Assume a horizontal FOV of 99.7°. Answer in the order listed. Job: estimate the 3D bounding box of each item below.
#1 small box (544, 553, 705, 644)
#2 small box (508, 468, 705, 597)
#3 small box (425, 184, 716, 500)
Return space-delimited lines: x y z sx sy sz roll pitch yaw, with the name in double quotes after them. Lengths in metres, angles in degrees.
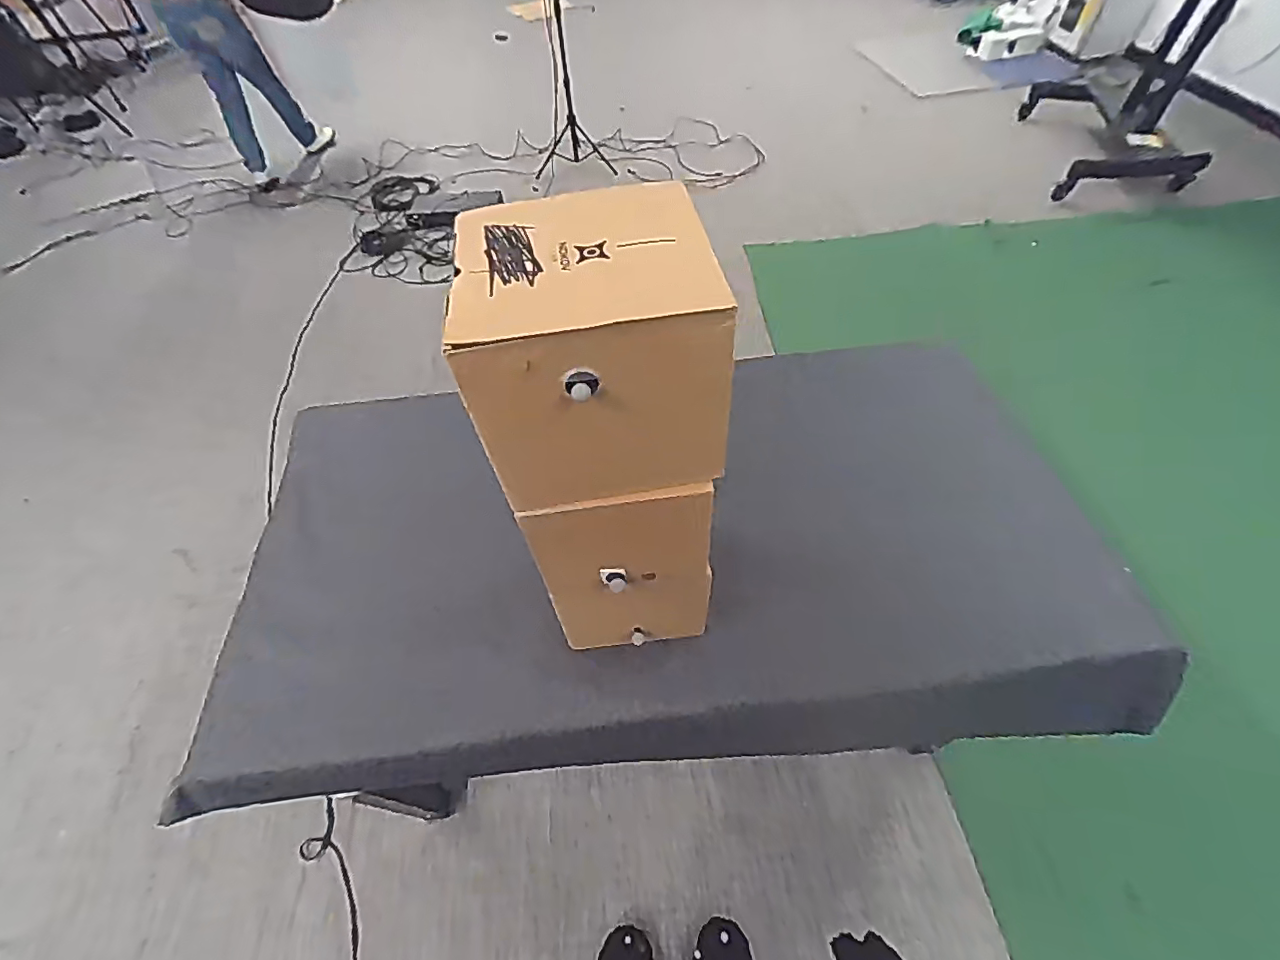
-0.021 0.095 0.685 0.179 0.176 0.168 -6 53 -1 "small box"
-0.030 -0.001 0.555 0.168 0.176 0.179 -8 54 0 "small box"
-0.043 -0.100 0.425 0.179 0.176 0.168 -8 53 -2 "small box"
